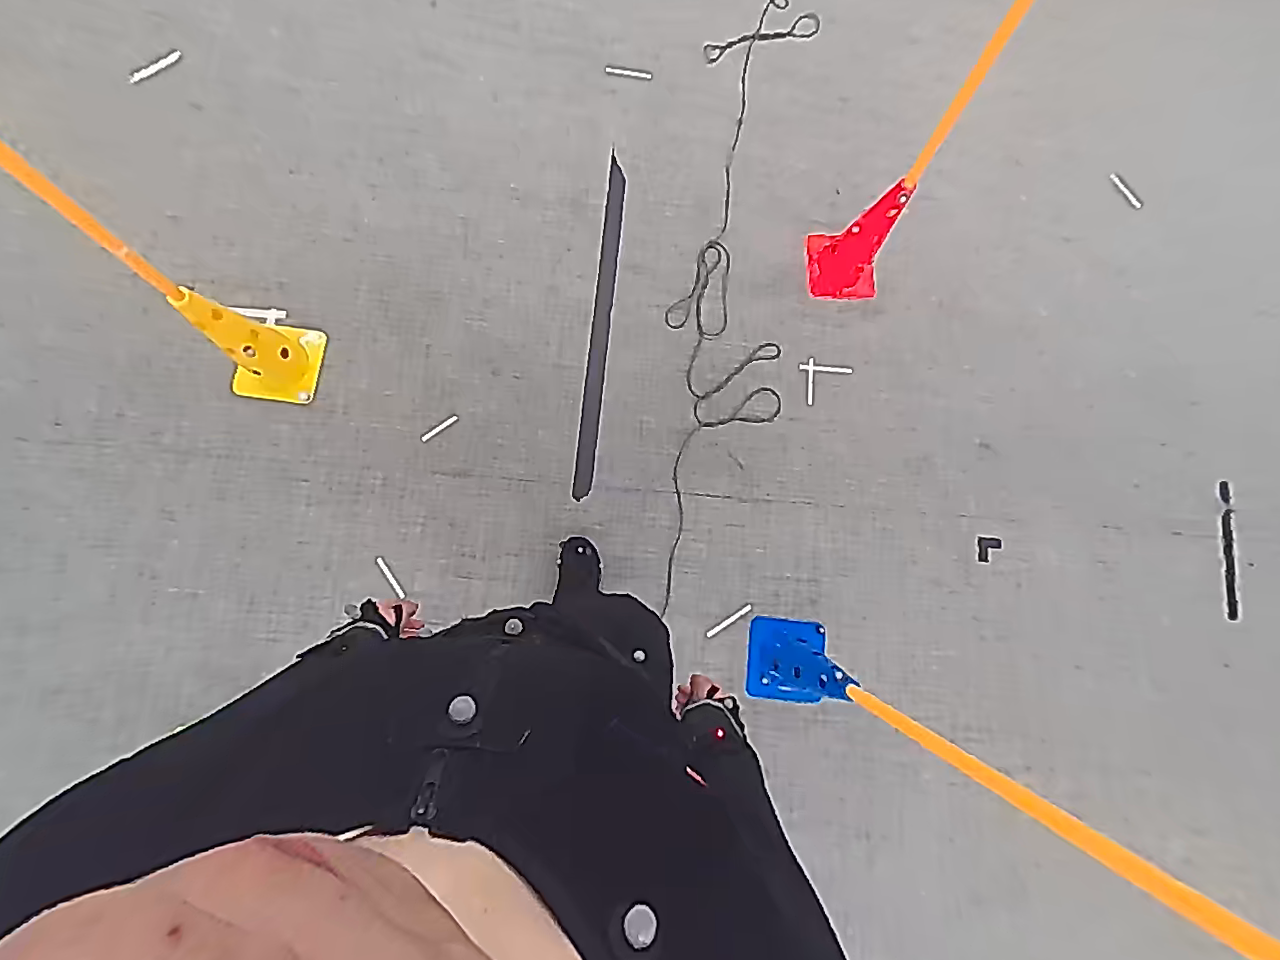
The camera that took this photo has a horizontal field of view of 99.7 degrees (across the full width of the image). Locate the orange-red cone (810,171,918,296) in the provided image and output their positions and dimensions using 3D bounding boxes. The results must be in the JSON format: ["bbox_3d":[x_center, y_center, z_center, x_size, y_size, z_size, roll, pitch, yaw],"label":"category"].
[{"bbox_3d":[0.602,-0.656,1.399,0.199,0.360,0.198,0,80,-3],"label":"orange-red cone"}]

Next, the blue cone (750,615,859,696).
[{"bbox_3d":[0.389,0.419,1.218,0.193,0.380,0.192,8,79,-4],"label":"blue cone"}]
